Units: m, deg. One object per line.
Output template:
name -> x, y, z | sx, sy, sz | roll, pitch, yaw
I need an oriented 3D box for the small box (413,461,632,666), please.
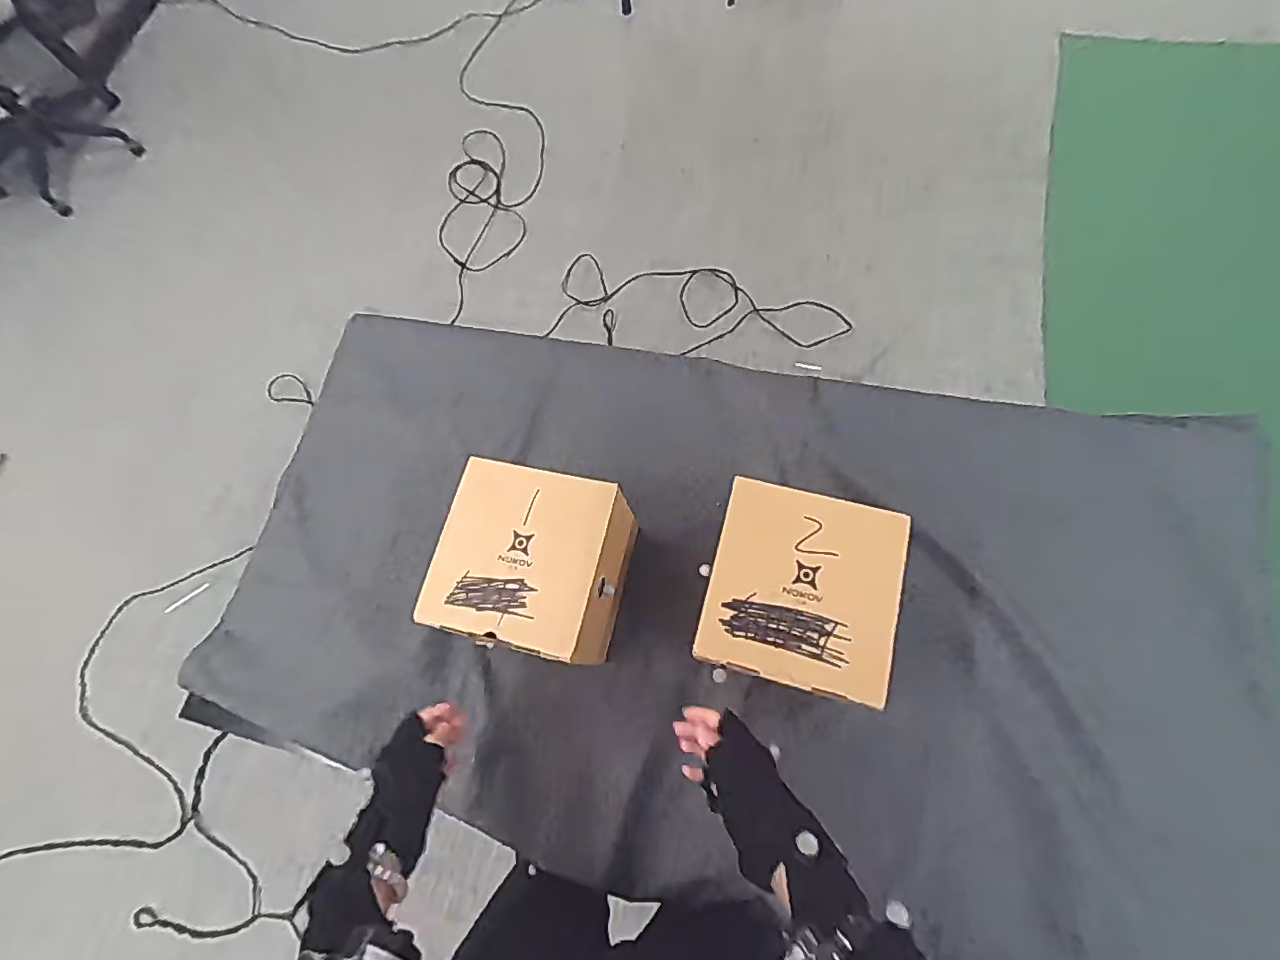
small box -> -0.112, 0.100, 0.603 | 0.168, 0.176, 0.179 | 11, 72, 10
